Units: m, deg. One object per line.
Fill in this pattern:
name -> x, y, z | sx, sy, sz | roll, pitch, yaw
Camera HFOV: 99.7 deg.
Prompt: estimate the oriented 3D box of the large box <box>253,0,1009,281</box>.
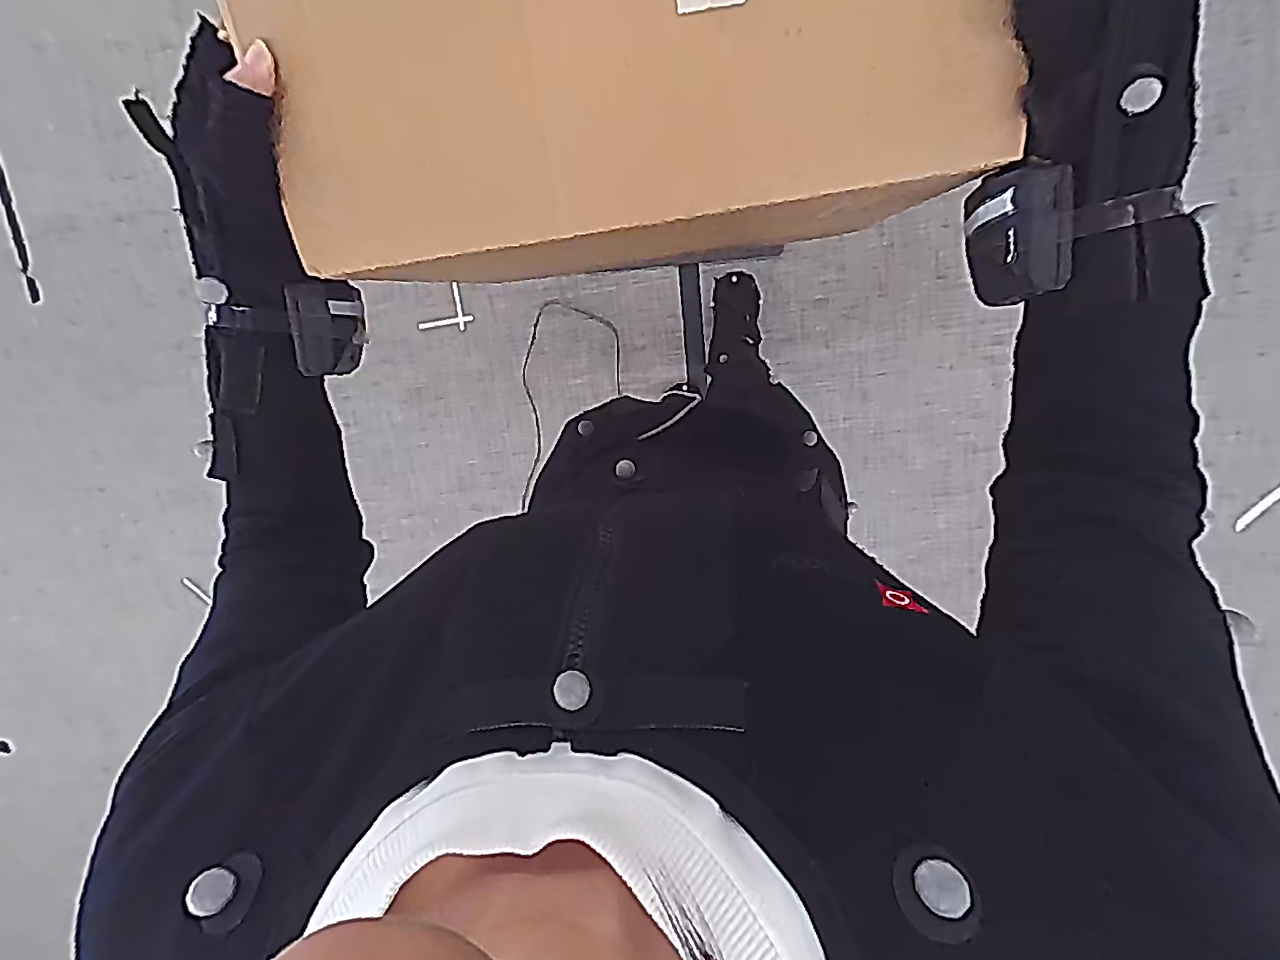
large box -> -0.009, -0.348, 0.411 | 0.408, 0.320, 0.320 | -6, 109, 9
